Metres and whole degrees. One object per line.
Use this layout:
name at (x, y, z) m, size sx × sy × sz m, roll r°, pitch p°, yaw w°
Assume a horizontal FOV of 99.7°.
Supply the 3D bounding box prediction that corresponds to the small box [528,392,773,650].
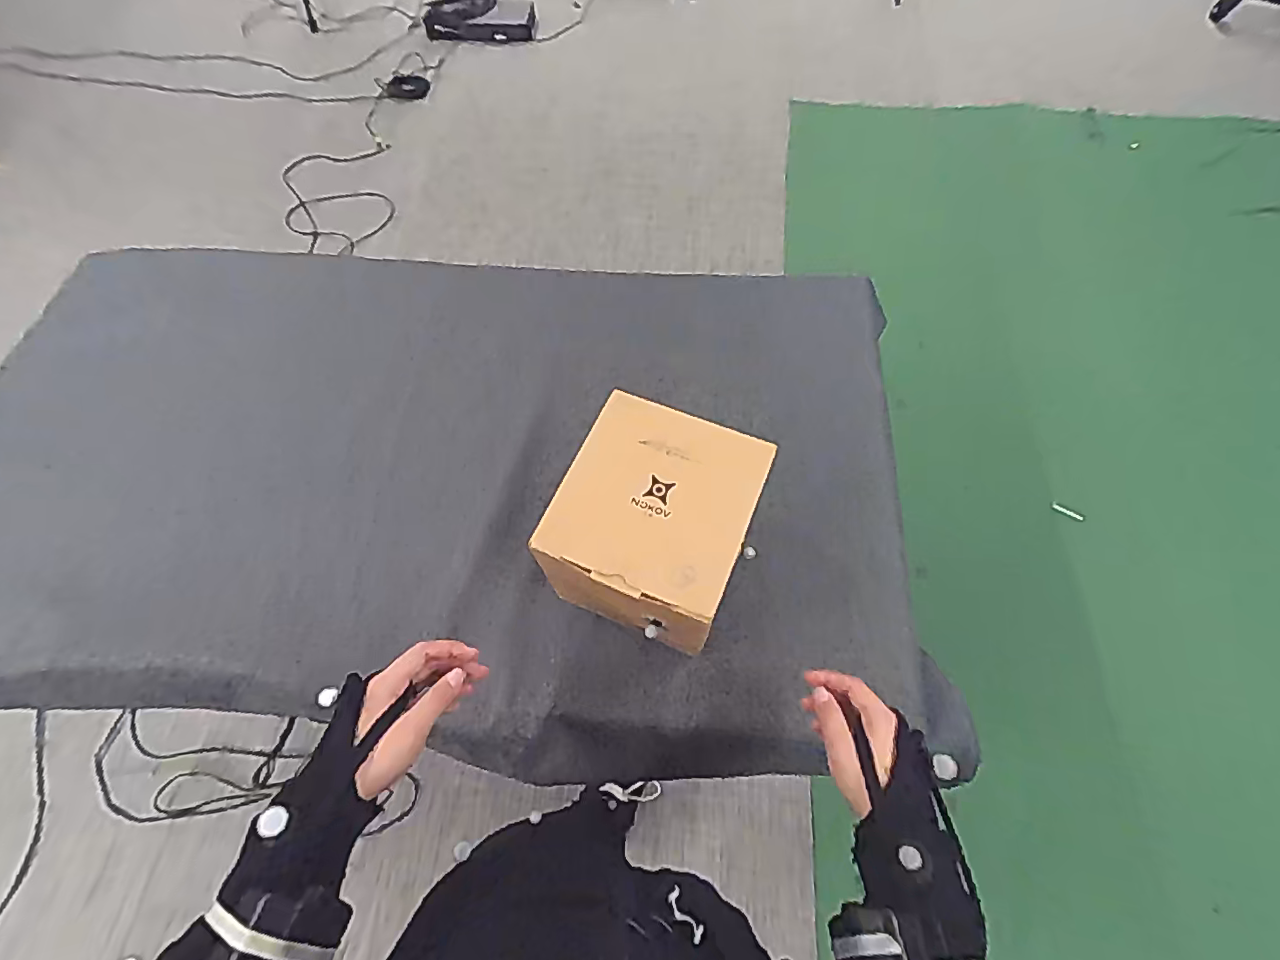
small box at (0.015, 0.049, 0.540) m, size 0.168 × 0.176 × 0.179 m, roll 21°, pitch 64°, yaw 11°
